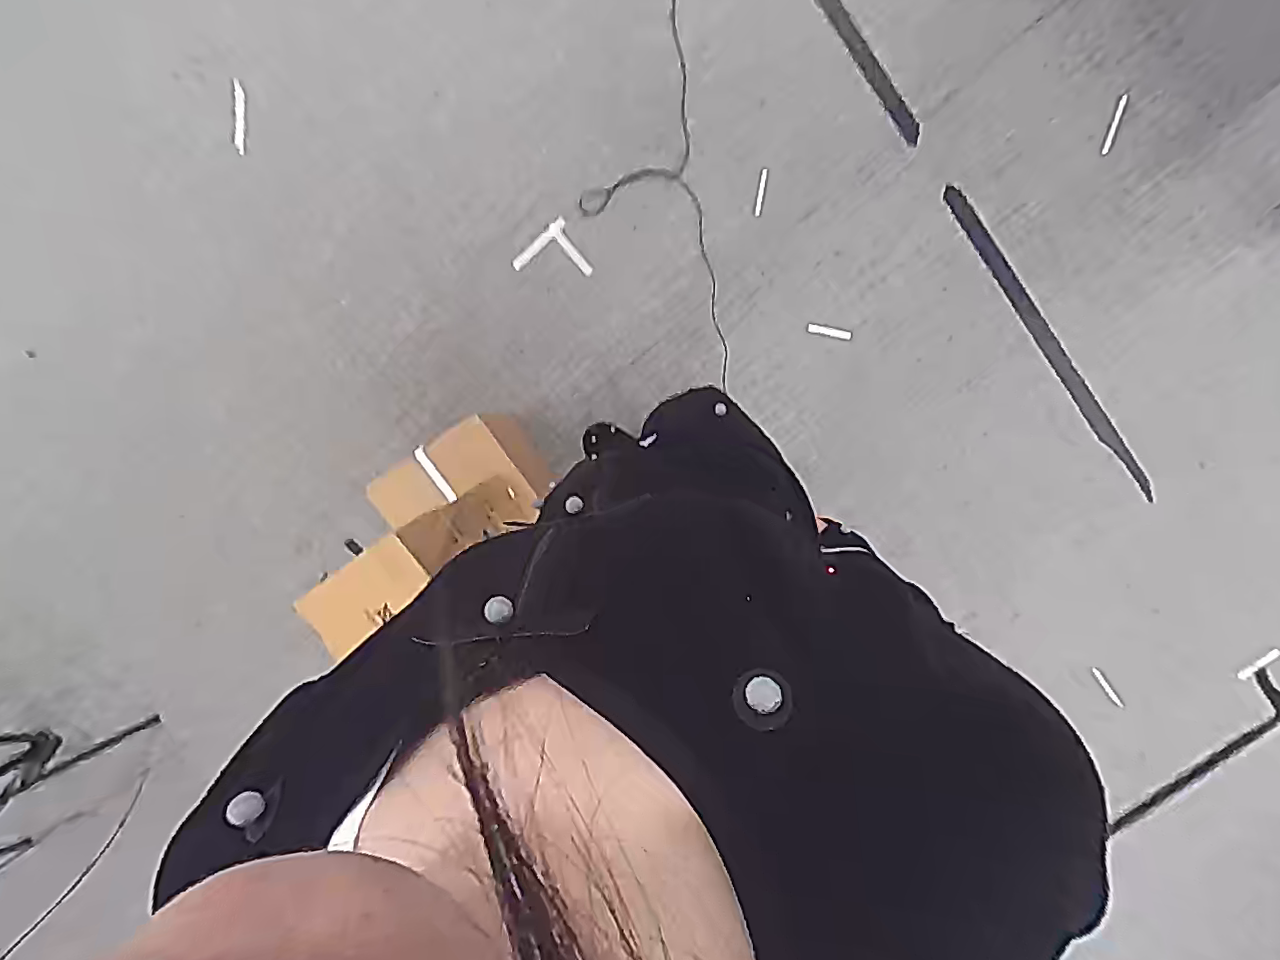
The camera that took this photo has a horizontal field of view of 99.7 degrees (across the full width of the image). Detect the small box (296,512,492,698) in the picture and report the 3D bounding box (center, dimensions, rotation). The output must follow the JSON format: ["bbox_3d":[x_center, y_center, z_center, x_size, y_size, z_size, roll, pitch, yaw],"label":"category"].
[{"bbox_3d":[-0.339,0.169,0.791,0.179,0.176,0.168,-36,98,5],"label":"small box"}]

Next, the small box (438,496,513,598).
[{"bbox_3d":[-0.342,0.147,0.953,0.179,0.176,0.168,-34,97,4],"label":"small box"}]
